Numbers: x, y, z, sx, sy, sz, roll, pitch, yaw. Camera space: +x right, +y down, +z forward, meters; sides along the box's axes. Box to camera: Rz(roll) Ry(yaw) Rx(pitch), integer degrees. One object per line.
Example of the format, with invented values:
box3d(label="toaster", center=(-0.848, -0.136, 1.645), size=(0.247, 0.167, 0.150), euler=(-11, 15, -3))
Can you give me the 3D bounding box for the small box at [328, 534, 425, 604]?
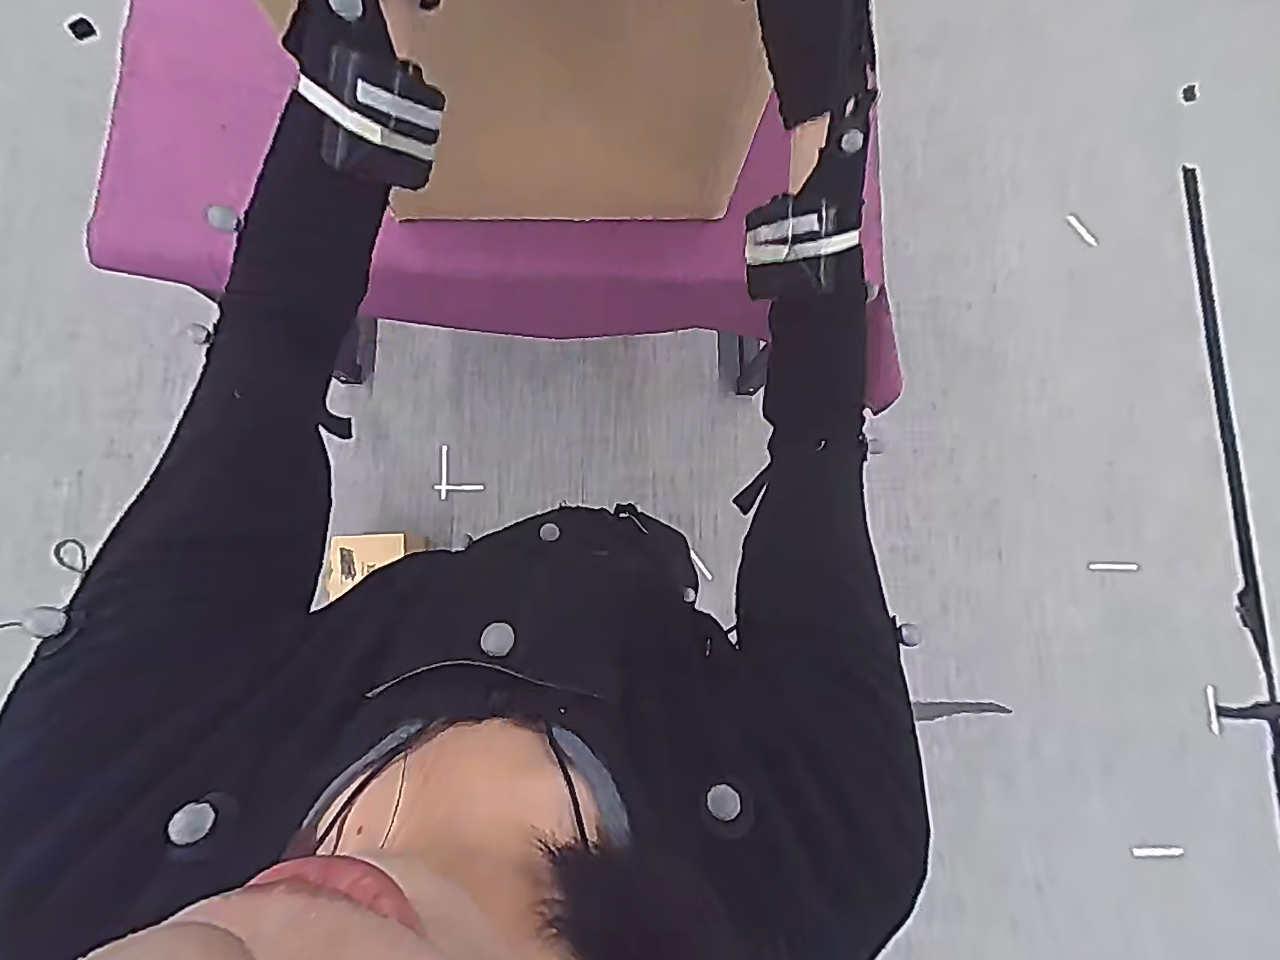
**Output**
box3d(label="small box", center=(-0.667, 0.227, 1.384), size=(0.179, 0.176, 0.168), euler=(-2, 83, -6))
